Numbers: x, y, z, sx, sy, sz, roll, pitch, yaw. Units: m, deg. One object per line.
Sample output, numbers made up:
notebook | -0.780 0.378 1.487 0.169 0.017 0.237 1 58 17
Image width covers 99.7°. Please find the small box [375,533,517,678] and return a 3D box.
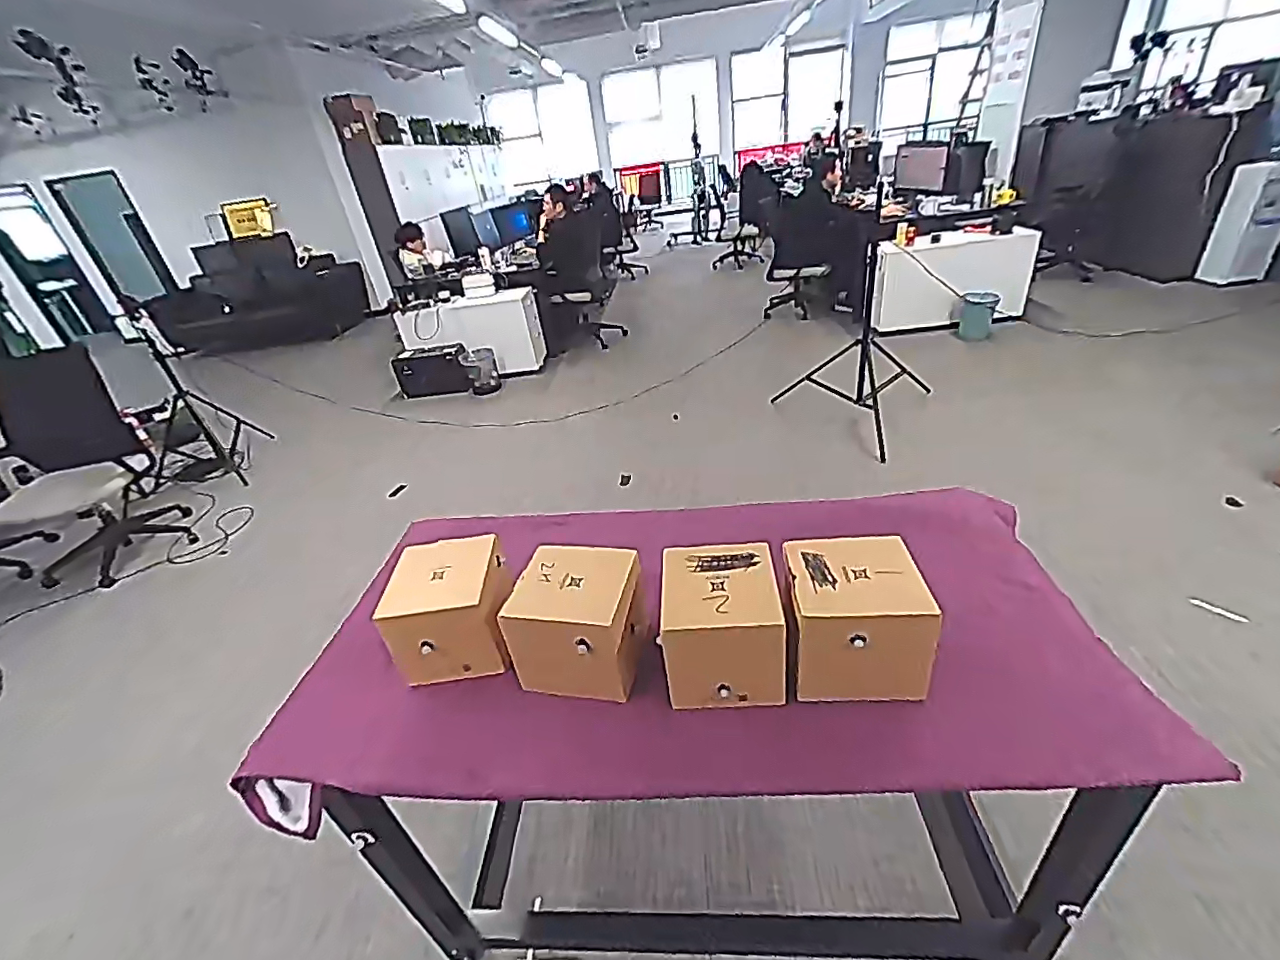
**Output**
small box | -0.318 0.220 0.932 0.168 0.176 0.179 -9 32 0
